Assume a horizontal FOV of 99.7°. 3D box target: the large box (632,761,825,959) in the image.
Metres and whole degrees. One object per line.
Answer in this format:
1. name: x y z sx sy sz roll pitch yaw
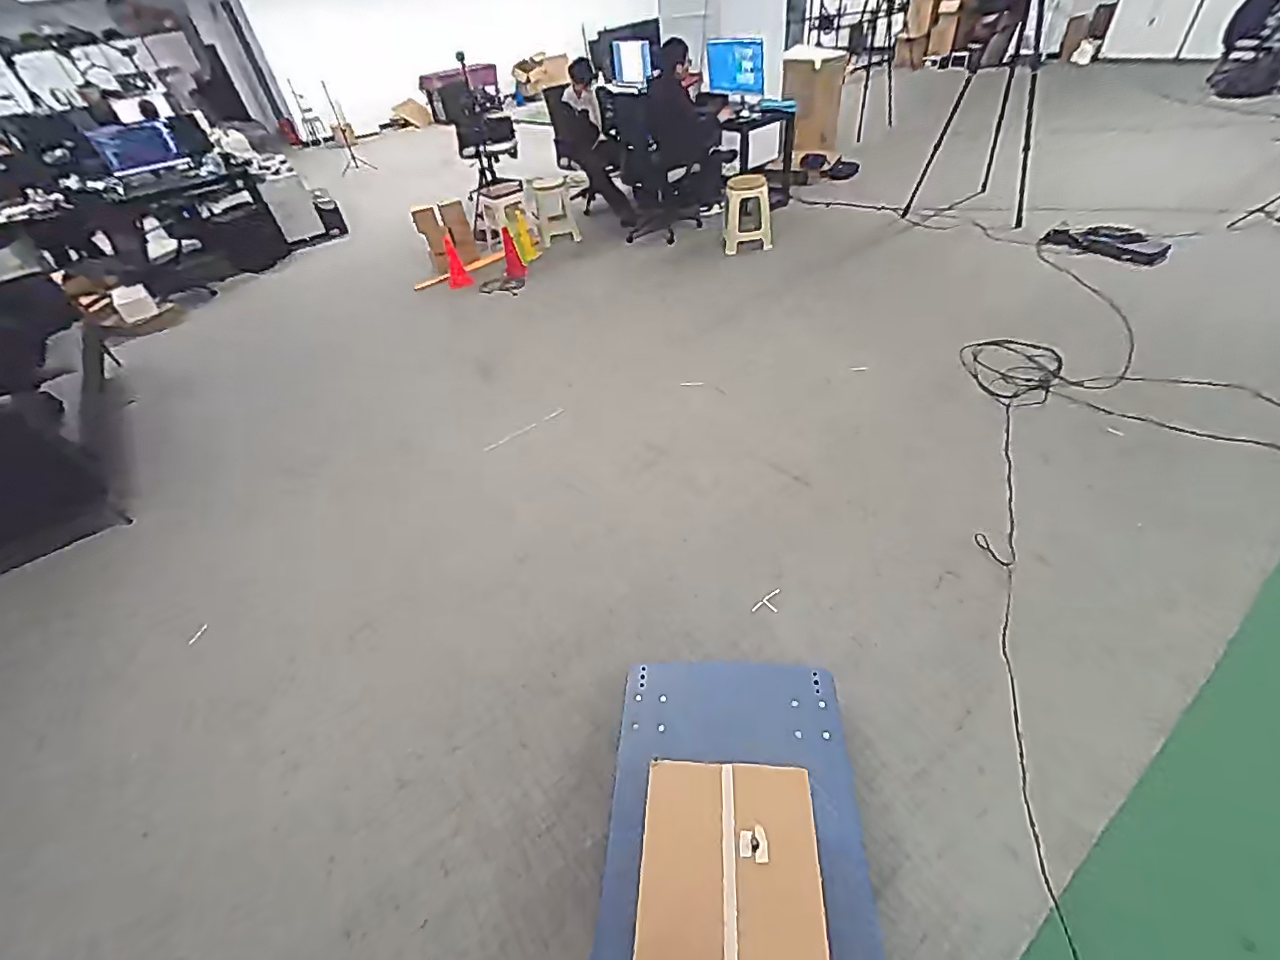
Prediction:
1. large box: 0.171 0.823 1.047 0.320 0.320 0.408 -1 41 9
